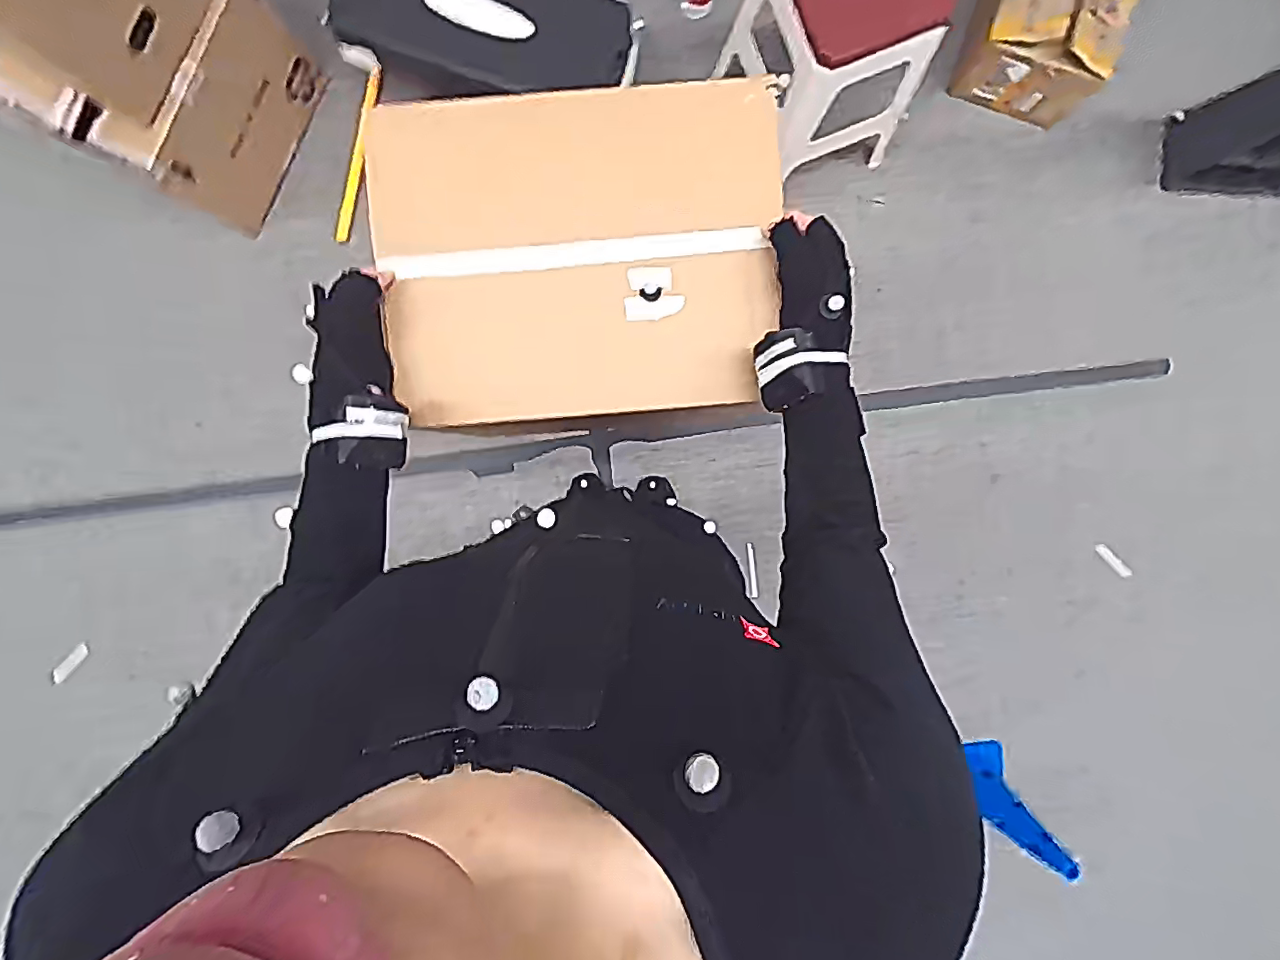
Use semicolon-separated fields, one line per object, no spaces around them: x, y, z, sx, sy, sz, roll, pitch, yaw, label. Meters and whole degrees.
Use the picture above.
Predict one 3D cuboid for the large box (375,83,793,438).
-0.056;-0.229;0.688;0.408;0.320;0.320;-4;92;0;large box
